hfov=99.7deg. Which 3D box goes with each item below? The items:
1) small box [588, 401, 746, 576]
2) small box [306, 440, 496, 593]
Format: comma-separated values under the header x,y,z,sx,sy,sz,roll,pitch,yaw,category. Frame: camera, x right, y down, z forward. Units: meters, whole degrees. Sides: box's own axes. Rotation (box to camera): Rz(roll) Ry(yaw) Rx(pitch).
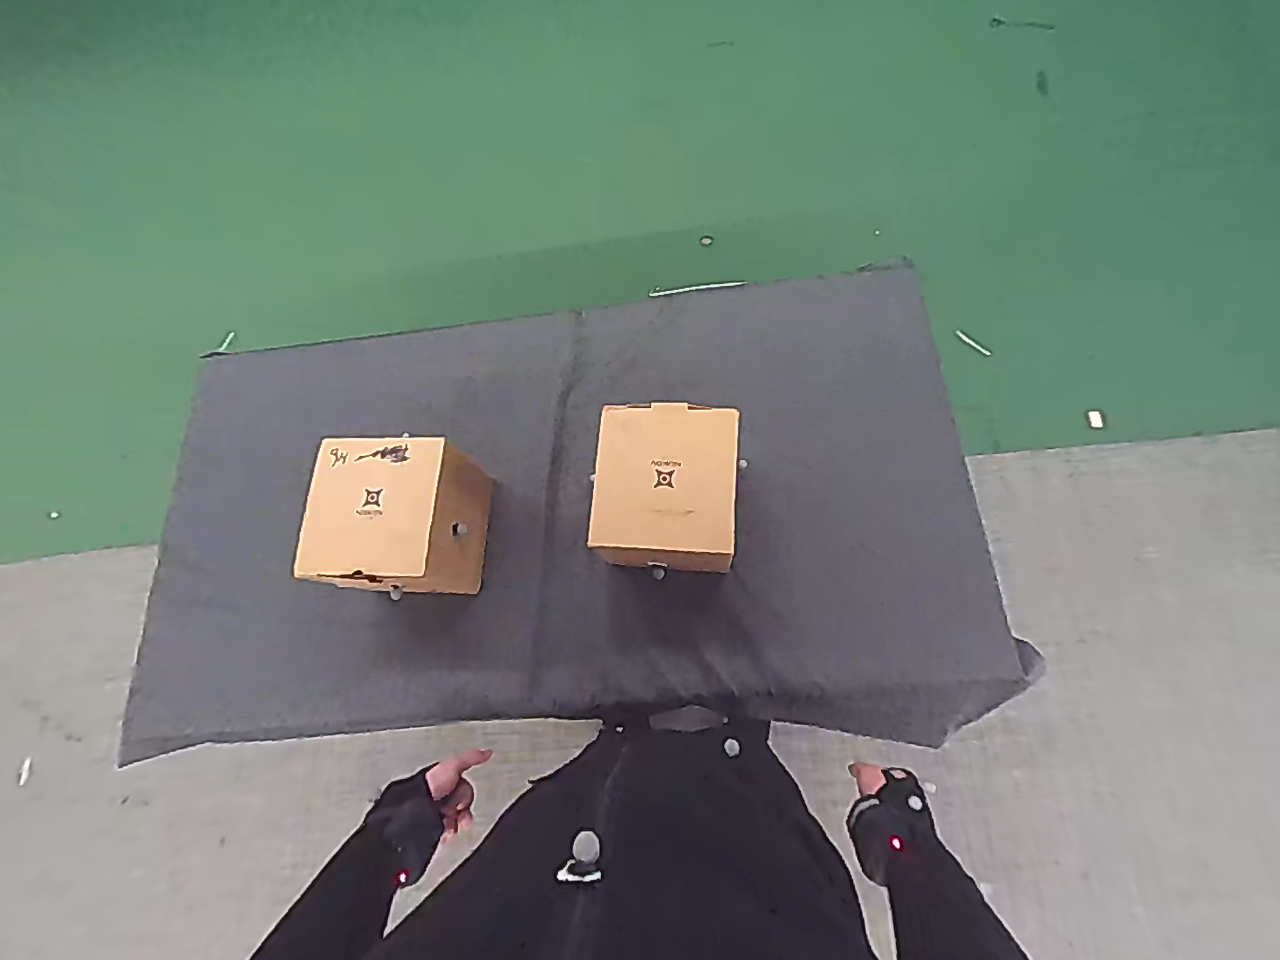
x,y,z,sx,sy,sz,roll,pitch,yaw,category
0.042,0.017,0.686,0.168,0.176,0.179,4,73,10,small box
-0.307,0.060,0.733,0.168,0.176,0.179,-3,72,7,small box
